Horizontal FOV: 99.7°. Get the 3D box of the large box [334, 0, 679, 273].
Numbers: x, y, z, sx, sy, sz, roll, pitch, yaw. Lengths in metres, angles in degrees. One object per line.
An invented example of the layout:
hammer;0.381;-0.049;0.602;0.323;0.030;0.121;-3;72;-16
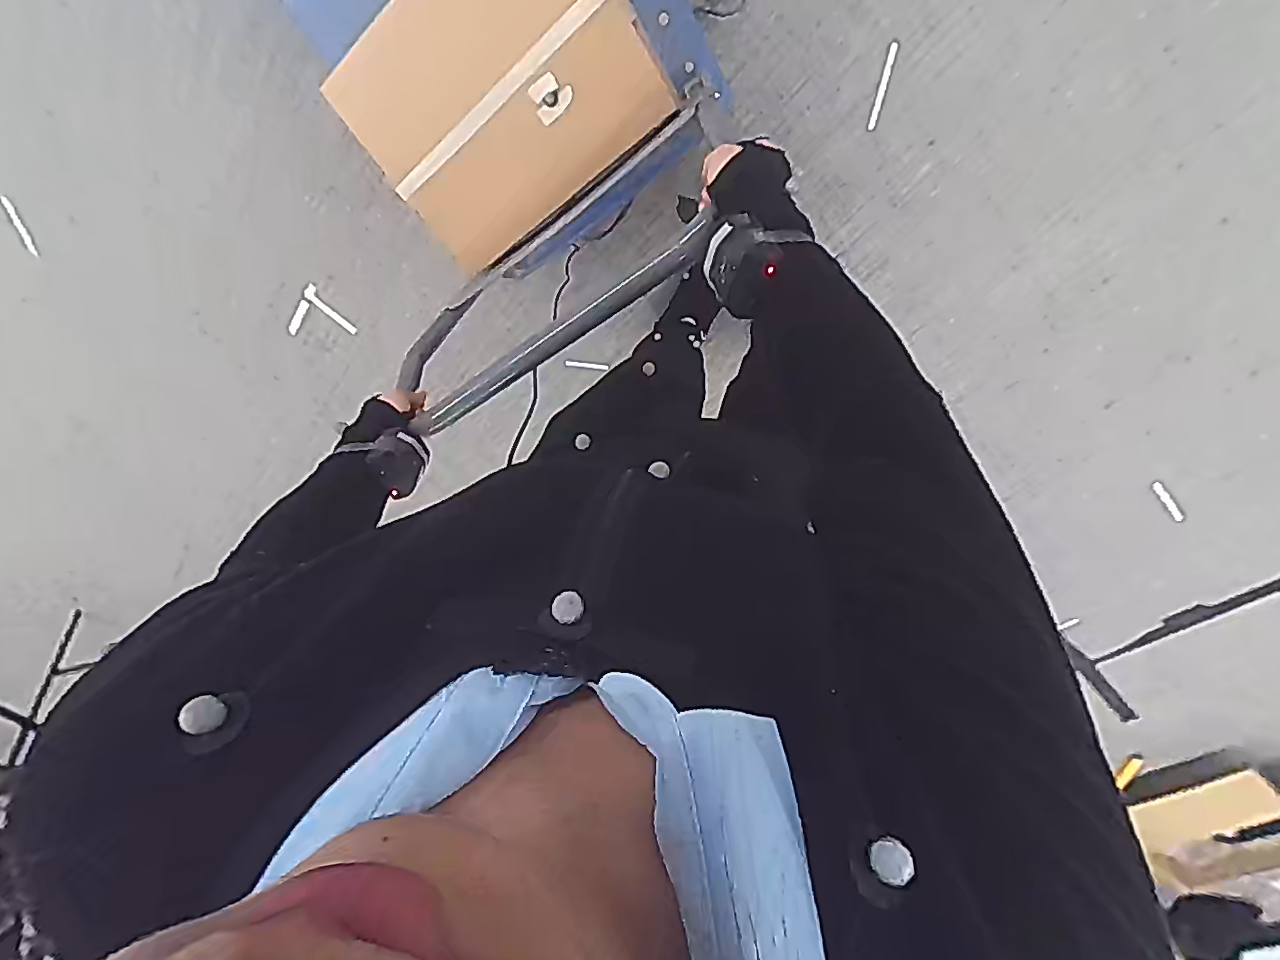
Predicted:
large box;-0.184;-0.618;0.880;0.408;0.320;0.320;-29;118;23
